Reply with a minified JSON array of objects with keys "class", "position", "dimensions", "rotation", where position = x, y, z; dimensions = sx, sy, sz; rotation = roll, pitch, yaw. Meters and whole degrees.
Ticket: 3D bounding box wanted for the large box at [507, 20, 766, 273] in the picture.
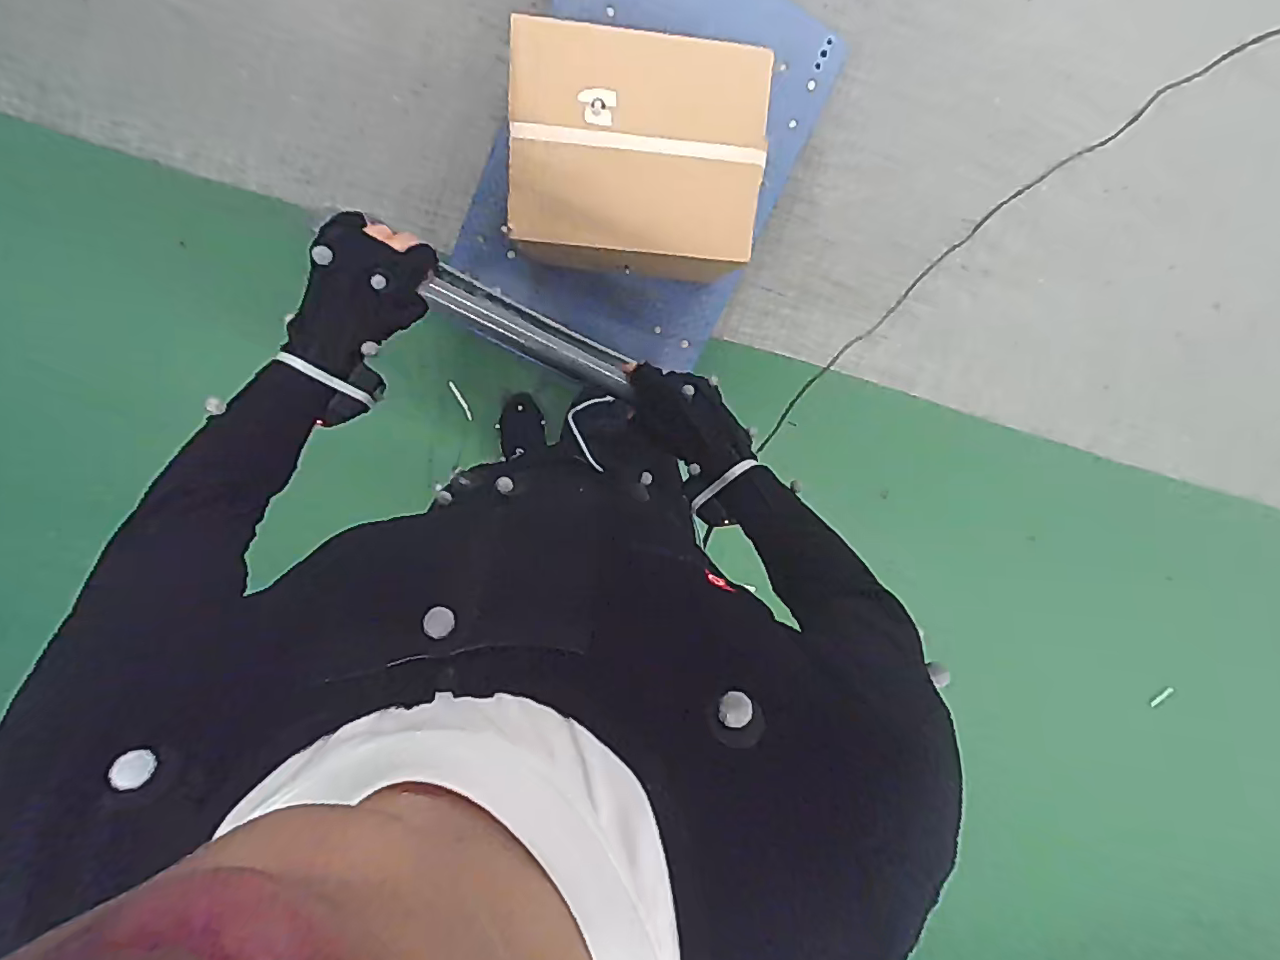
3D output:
[{"class":"large box","position":[-0.016,-0.573,1.004],"dimensions":[0.408,0.320,0.320],"rotation":[4,104,-4]}]
